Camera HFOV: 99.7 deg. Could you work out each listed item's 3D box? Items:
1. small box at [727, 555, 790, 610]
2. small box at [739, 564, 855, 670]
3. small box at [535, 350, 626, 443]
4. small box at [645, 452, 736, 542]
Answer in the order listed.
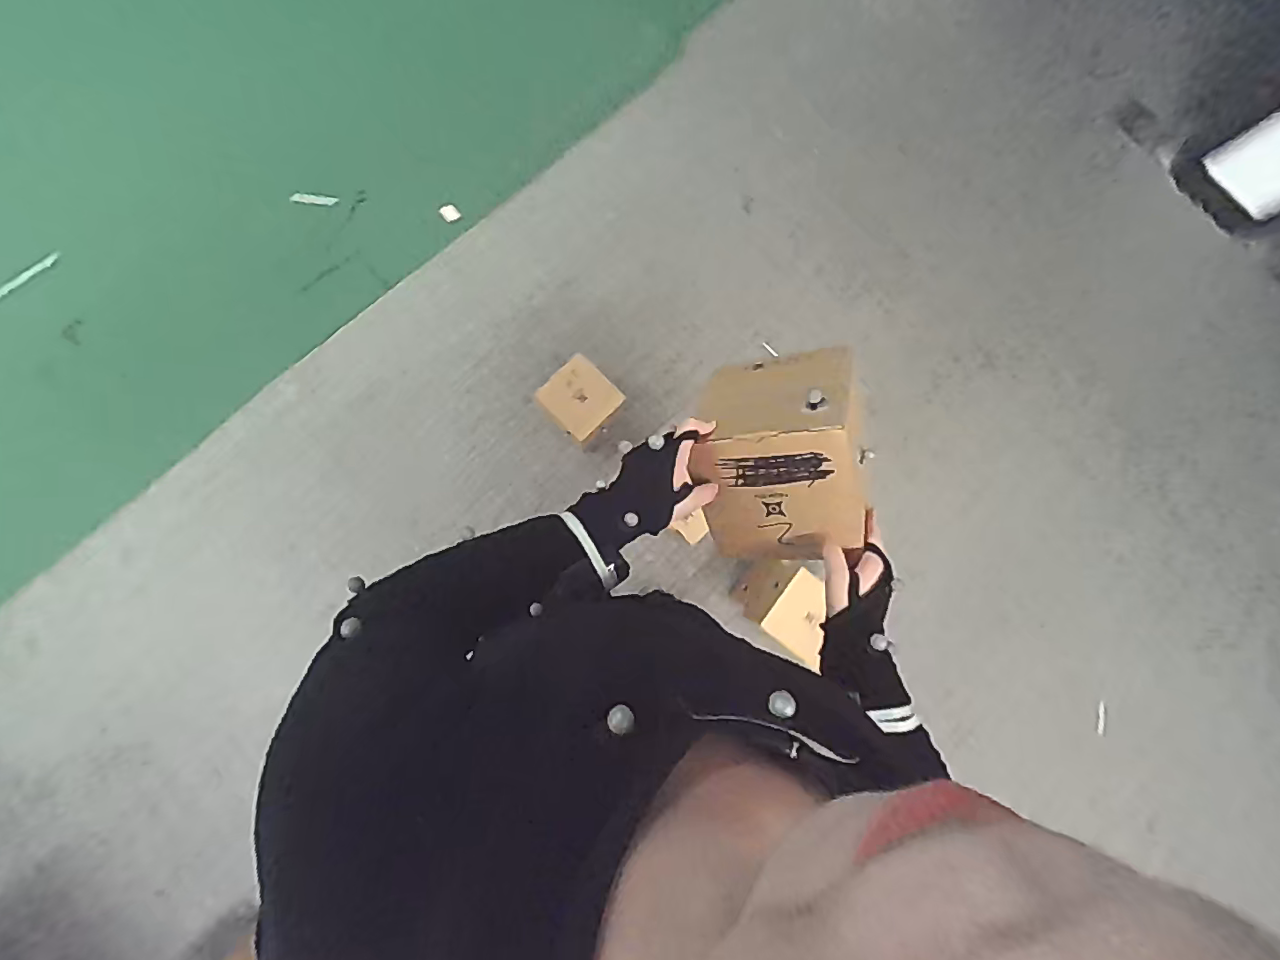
[{"bbox_3d":[0.358,0.319,1.447,0.179,0.176,0.168,44,83,0],"label":"small box"},{"bbox_3d":[0.363,0.315,1.284,0.179,0.176,0.168,39,83,-1],"label":"small box"},{"bbox_3d":[-0.158,-0.214,1.459,0.168,0.176,0.179,-44,89,-8],"label":"small box"},{"bbox_3d":[0.126,0.052,1.454,0.179,0.176,0.168,-43,89,-8],"label":"small box"}]
